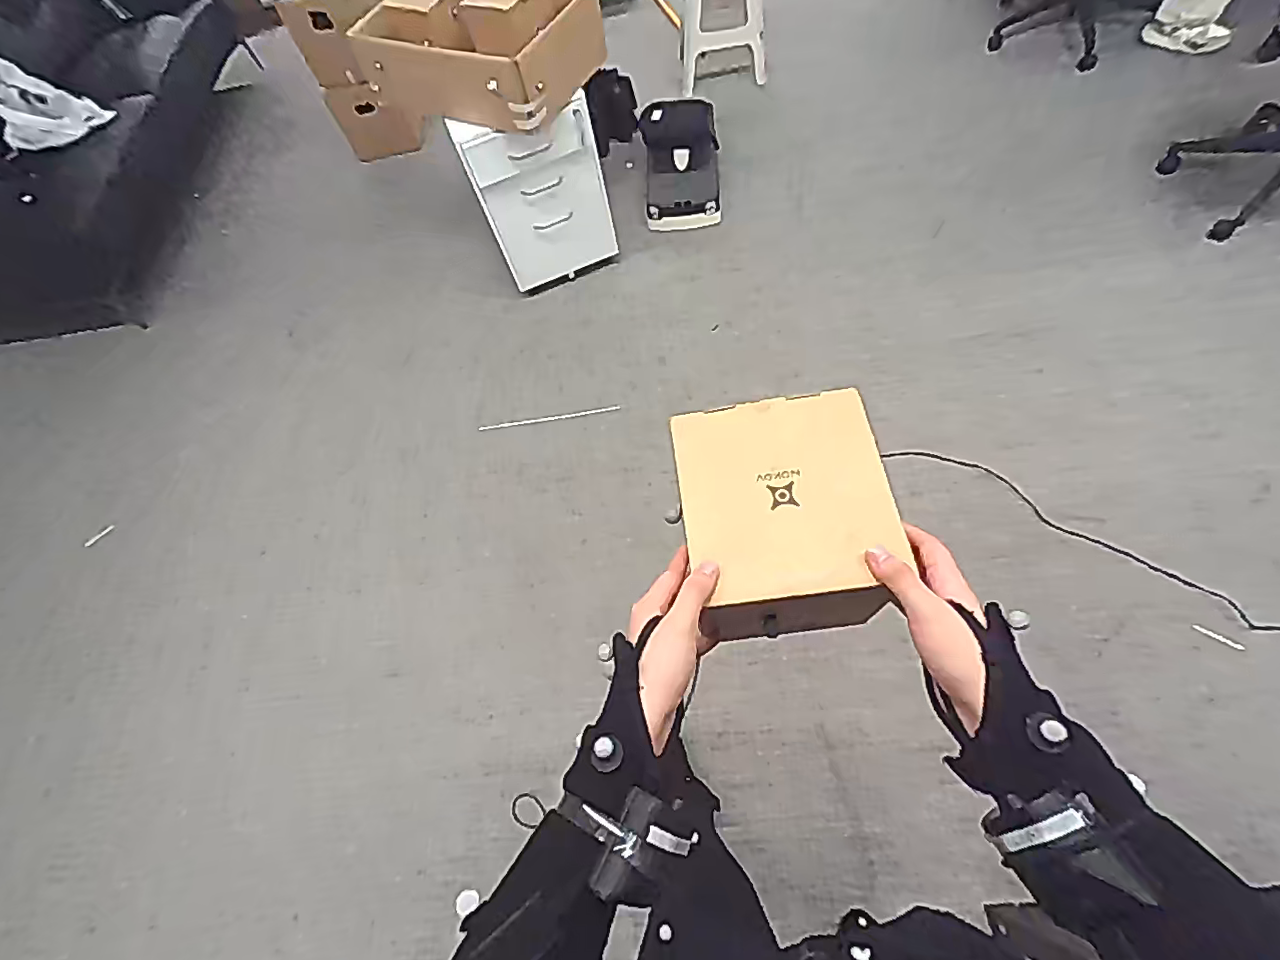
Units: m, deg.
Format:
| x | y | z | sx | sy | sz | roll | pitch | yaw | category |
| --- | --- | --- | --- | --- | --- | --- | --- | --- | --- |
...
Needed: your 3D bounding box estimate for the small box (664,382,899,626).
| x | y | z | sx | sy | sz | roll | pitch | yaw | category |
| --- | --- | --- | --- | --- | --- | --- | --- | --- | --- |
| 0.121 | 0.036 | 0.520 | 0.168 | 0.176 | 0.179 | -9 | 62 | 5 | small box |
